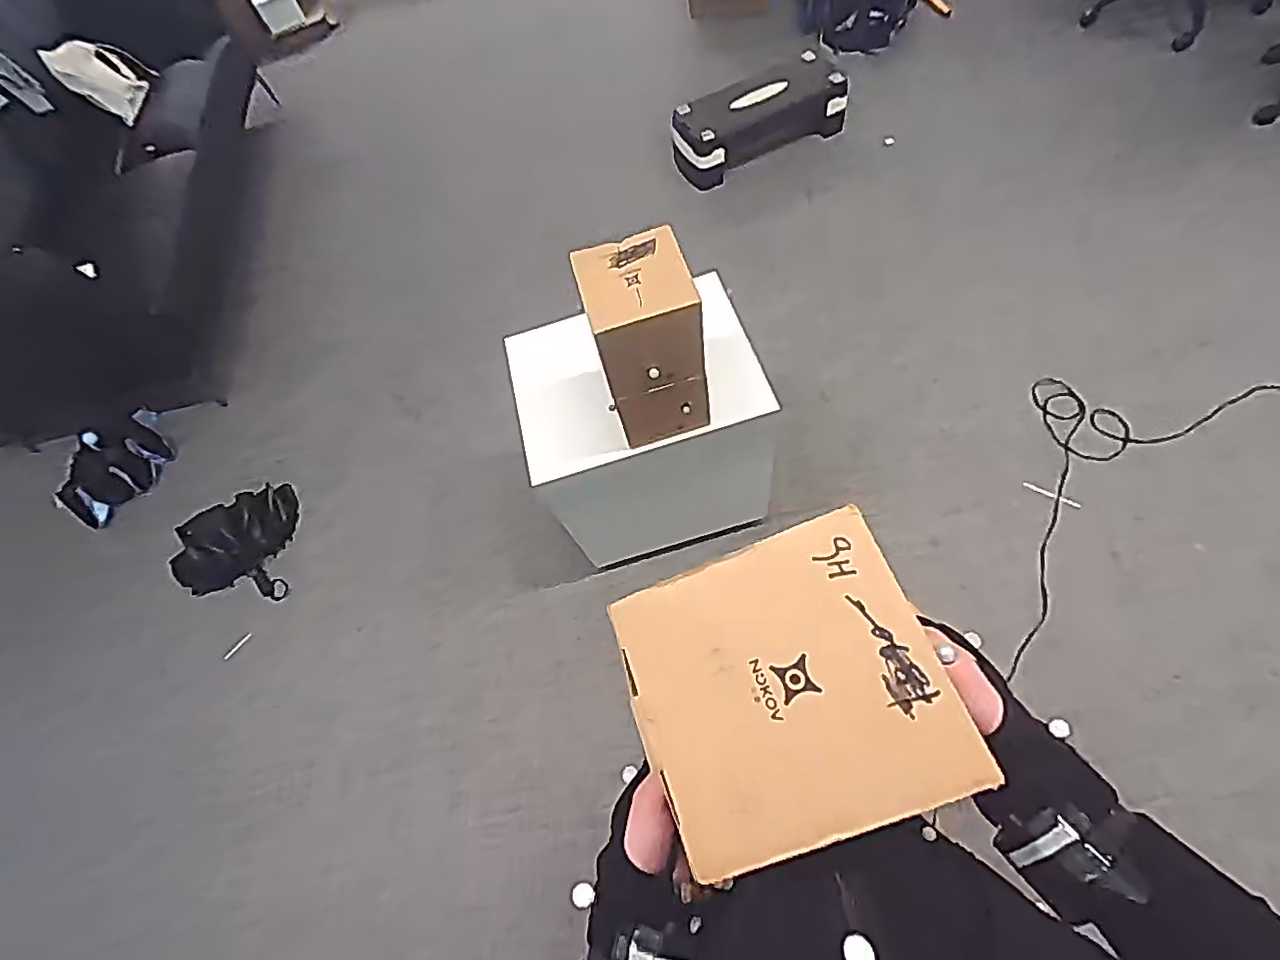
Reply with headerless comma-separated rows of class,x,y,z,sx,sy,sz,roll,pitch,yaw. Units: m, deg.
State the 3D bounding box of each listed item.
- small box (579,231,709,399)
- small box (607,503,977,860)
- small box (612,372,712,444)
small box,0.010,-0.264,0.885,0.168,0.176,0.179,-16,63,1
small box,0.101,0.142,0.400,0.179,0.176,0.168,-23,67,8
small box,0.035,-0.188,1.029,0.168,0.176,0.179,-17,60,0
